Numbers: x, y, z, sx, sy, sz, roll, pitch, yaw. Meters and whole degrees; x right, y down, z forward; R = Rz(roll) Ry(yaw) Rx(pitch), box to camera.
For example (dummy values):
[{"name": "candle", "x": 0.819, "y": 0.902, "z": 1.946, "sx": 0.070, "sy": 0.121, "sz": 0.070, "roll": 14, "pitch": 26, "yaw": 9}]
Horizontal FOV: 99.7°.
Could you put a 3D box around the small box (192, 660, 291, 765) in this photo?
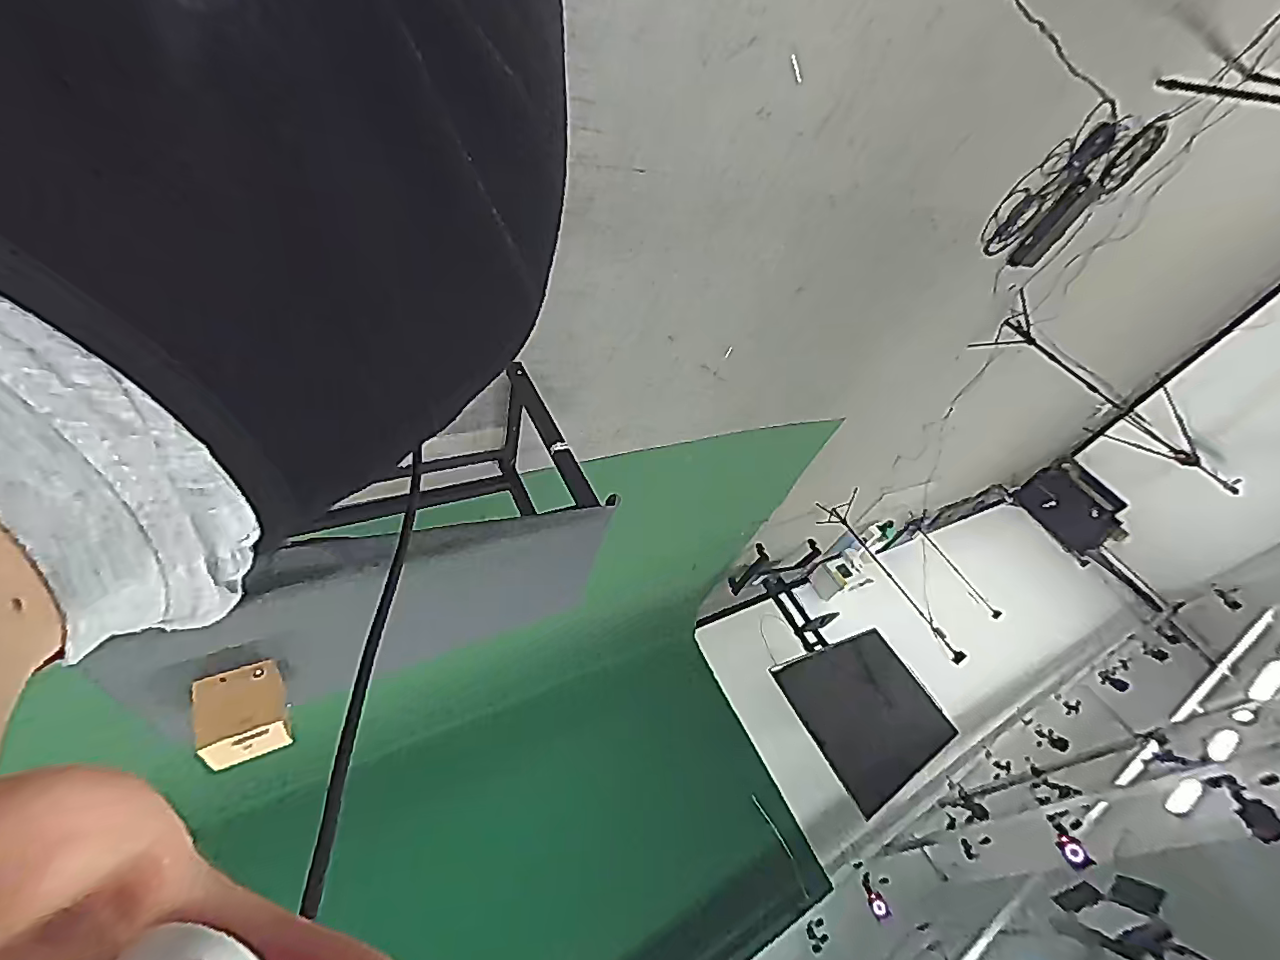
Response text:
[{"name": "small box", "x": -0.992, "y": 0.572, "z": 1.349, "sx": 0.168, "sy": 0.176, "sz": 0.179, "roll": -12, "pitch": 146, "yaw": -31}]
